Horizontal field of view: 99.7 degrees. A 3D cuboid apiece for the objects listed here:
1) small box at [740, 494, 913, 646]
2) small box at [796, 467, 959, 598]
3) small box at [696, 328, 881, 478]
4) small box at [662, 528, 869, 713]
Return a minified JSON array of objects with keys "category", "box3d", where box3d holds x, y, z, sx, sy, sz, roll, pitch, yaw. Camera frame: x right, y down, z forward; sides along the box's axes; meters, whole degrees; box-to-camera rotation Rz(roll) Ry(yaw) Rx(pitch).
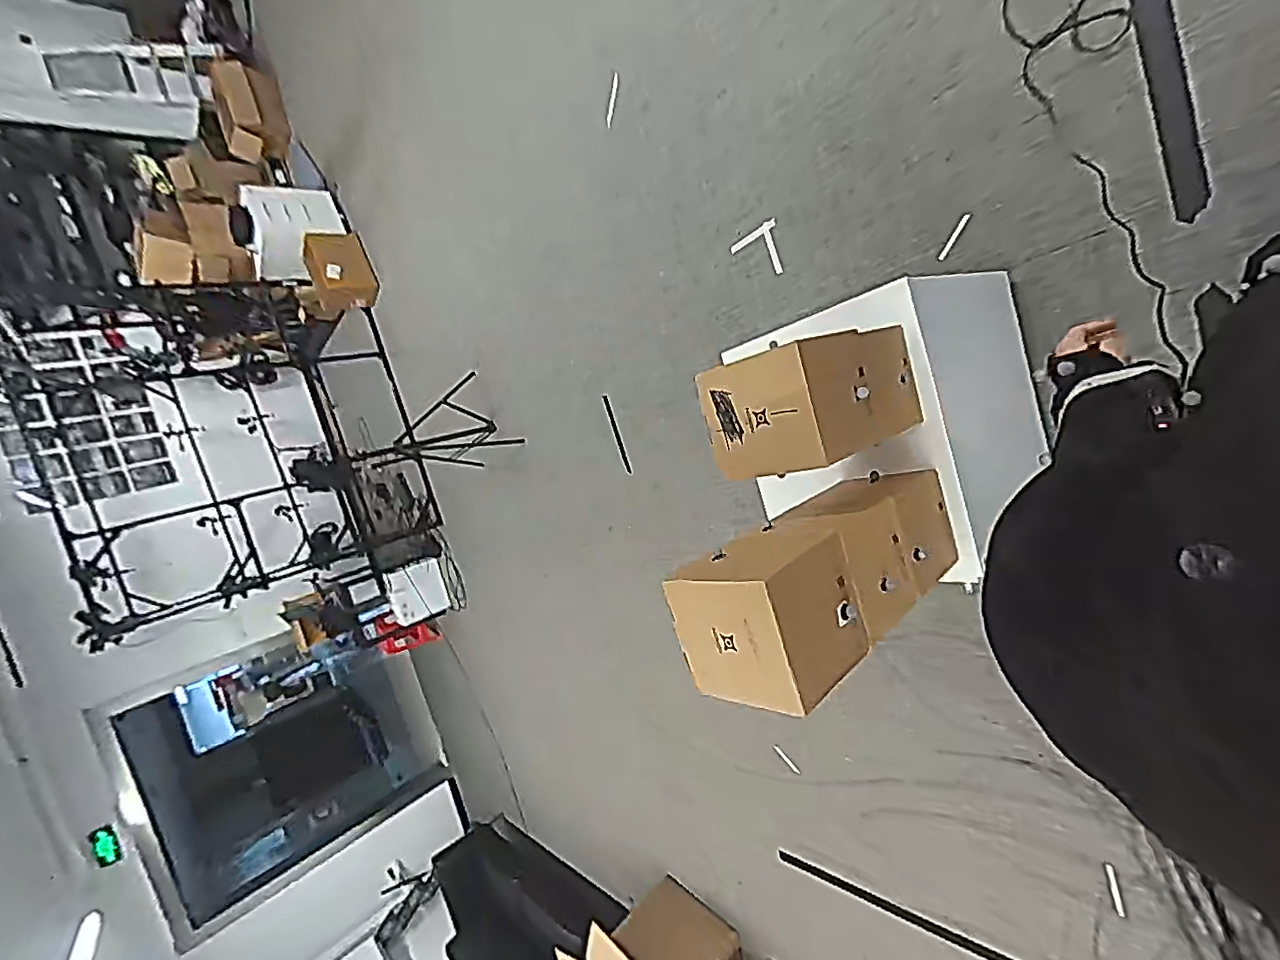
[{"category":"small box","box3d":[0.283,0.128,0.808,0.179,0.176,0.168,-13,96,51]},{"category":"small box","box3d":[0.400,0.084,0.912,0.179,0.176,0.168,-11,98,52]},{"category":"small box","box3d":[0.215,-0.109,0.781,0.179,0.176,0.168,-9,99,49]},{"category":"small box","box3d":[0.164,0.171,0.707,0.179,0.176,0.168,-14,96,50]}]
